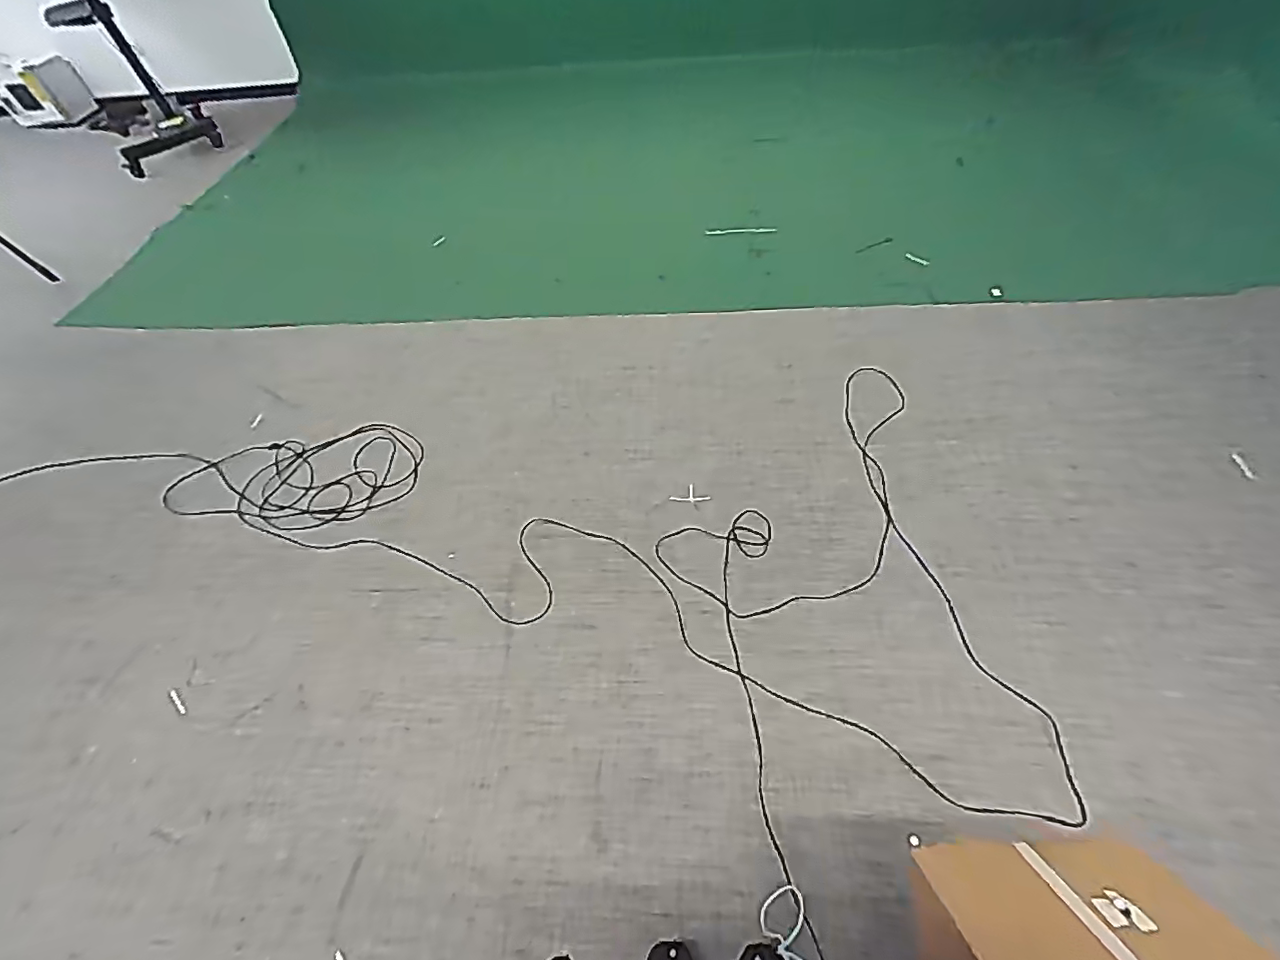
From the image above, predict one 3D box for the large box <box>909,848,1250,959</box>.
[{"bbox_3d":[0.563,0.712,0.616,0.320,0.408,0.320,-4,90,4],"label":"large box"}]
